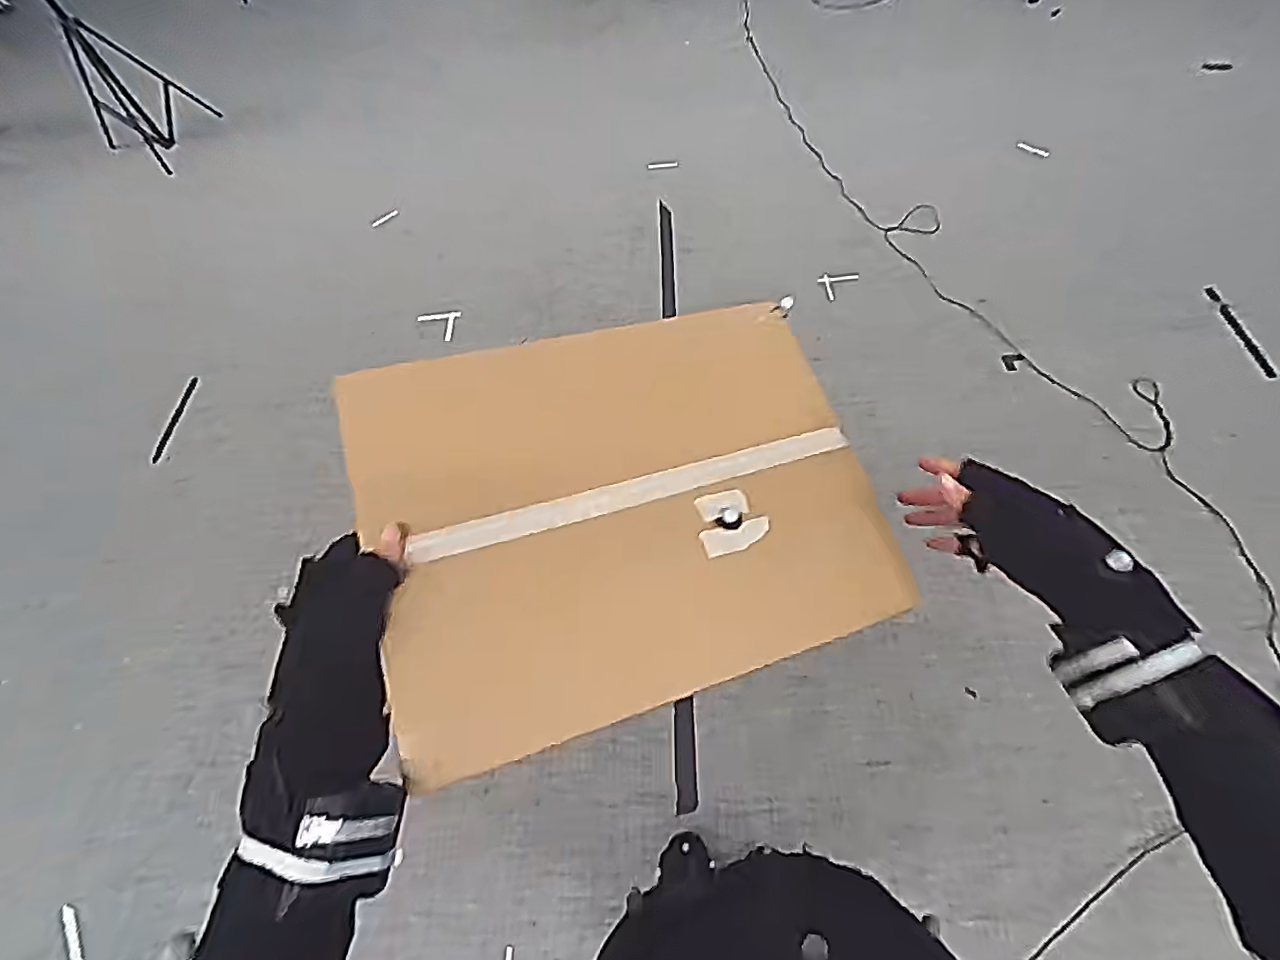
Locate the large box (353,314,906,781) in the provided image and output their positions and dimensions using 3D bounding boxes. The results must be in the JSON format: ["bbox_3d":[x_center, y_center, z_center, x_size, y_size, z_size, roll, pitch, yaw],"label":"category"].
[{"bbox_3d":[-0.030,0.072,0.585,0.408,0.320,0.320,-14,72,-15],"label":"large box"}]
